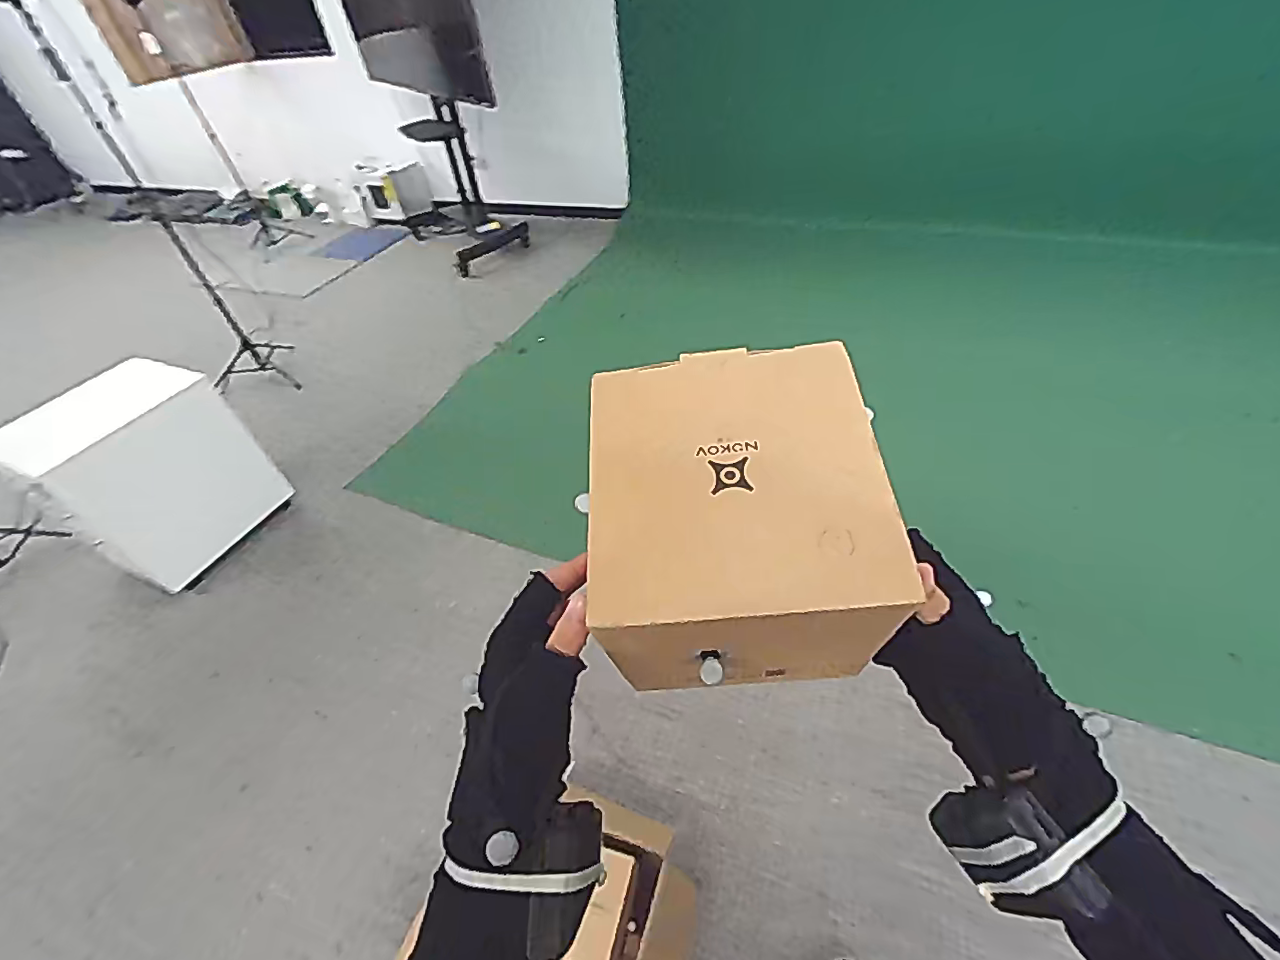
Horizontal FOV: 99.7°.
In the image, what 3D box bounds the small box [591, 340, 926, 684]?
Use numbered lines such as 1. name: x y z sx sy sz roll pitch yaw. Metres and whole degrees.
1. small box: 0.066 0.035 0.372 0.168 0.176 0.179 -6 56 6
